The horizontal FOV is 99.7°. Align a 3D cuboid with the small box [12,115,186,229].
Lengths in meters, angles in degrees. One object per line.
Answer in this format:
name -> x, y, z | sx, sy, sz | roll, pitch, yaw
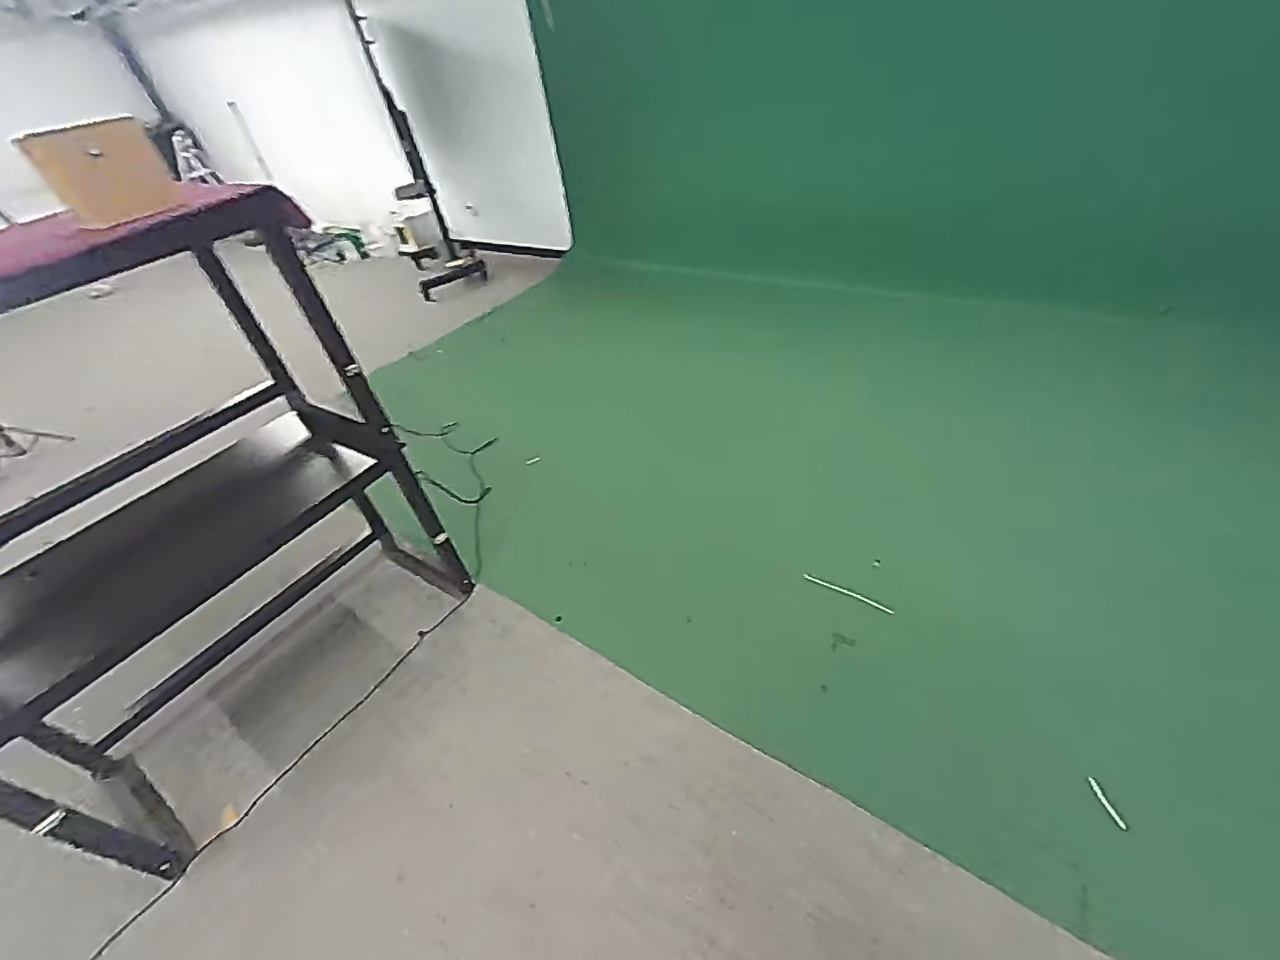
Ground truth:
small box -> -1.109, -0.633, 1.119 | 0.168, 0.176, 0.179 | 19, 49, 31
